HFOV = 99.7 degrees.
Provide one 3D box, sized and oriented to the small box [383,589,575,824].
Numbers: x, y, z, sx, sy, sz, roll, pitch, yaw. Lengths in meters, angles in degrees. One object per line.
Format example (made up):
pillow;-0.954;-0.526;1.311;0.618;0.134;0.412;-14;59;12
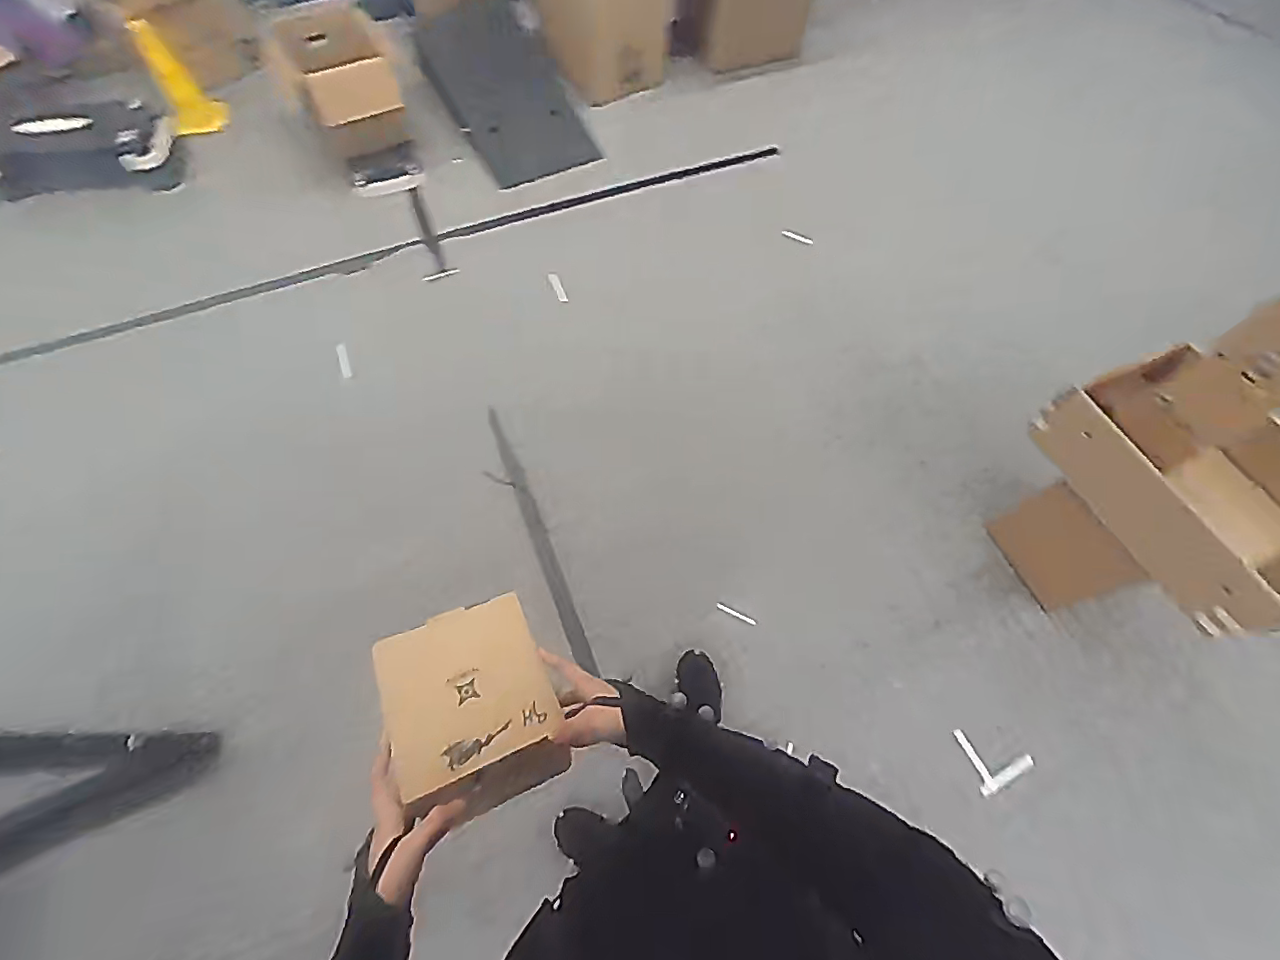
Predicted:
small box;-0.182;0.264;0.633;0.168;0.176;0.179;-17;53;-19

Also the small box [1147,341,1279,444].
small box;1.251;-0.202;1.150;0.179;0.176;0.168;-24;67;-15

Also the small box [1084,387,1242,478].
small box;1.241;-0.124;1.294;0.168;0.176;0.179;-26;67;-15

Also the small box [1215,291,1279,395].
small box;1.260;-0.290;1.010;0.179;0.176;0.168;-26;67;-16
